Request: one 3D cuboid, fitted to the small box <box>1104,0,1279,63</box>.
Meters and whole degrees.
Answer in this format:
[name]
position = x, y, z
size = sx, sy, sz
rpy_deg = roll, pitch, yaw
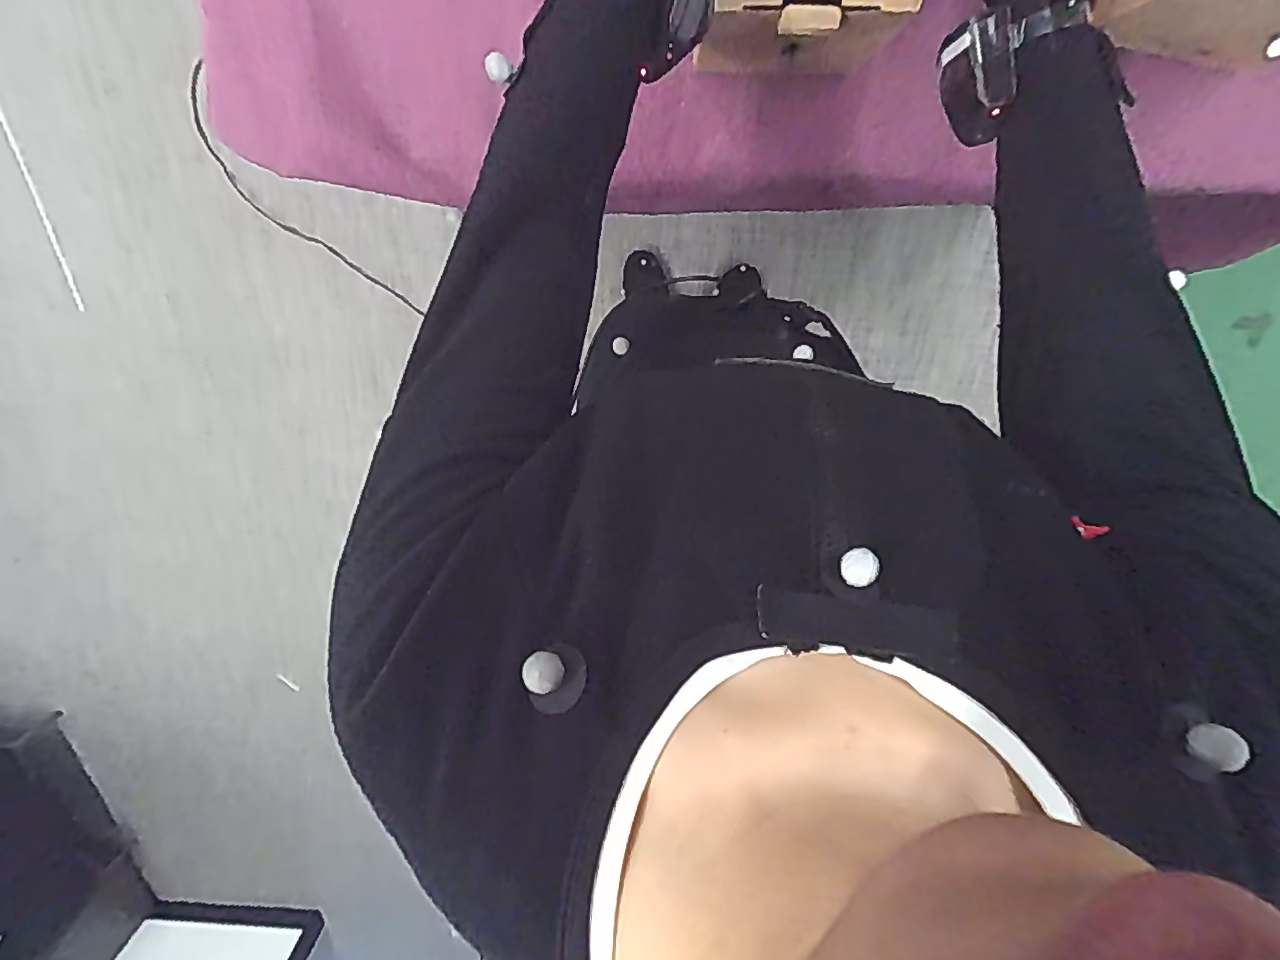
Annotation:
[small box]
position = 0.522, -0.461, 0.418
size = 0.168, 0.176, 0.179
rpy_deg = 12, 114, -2
